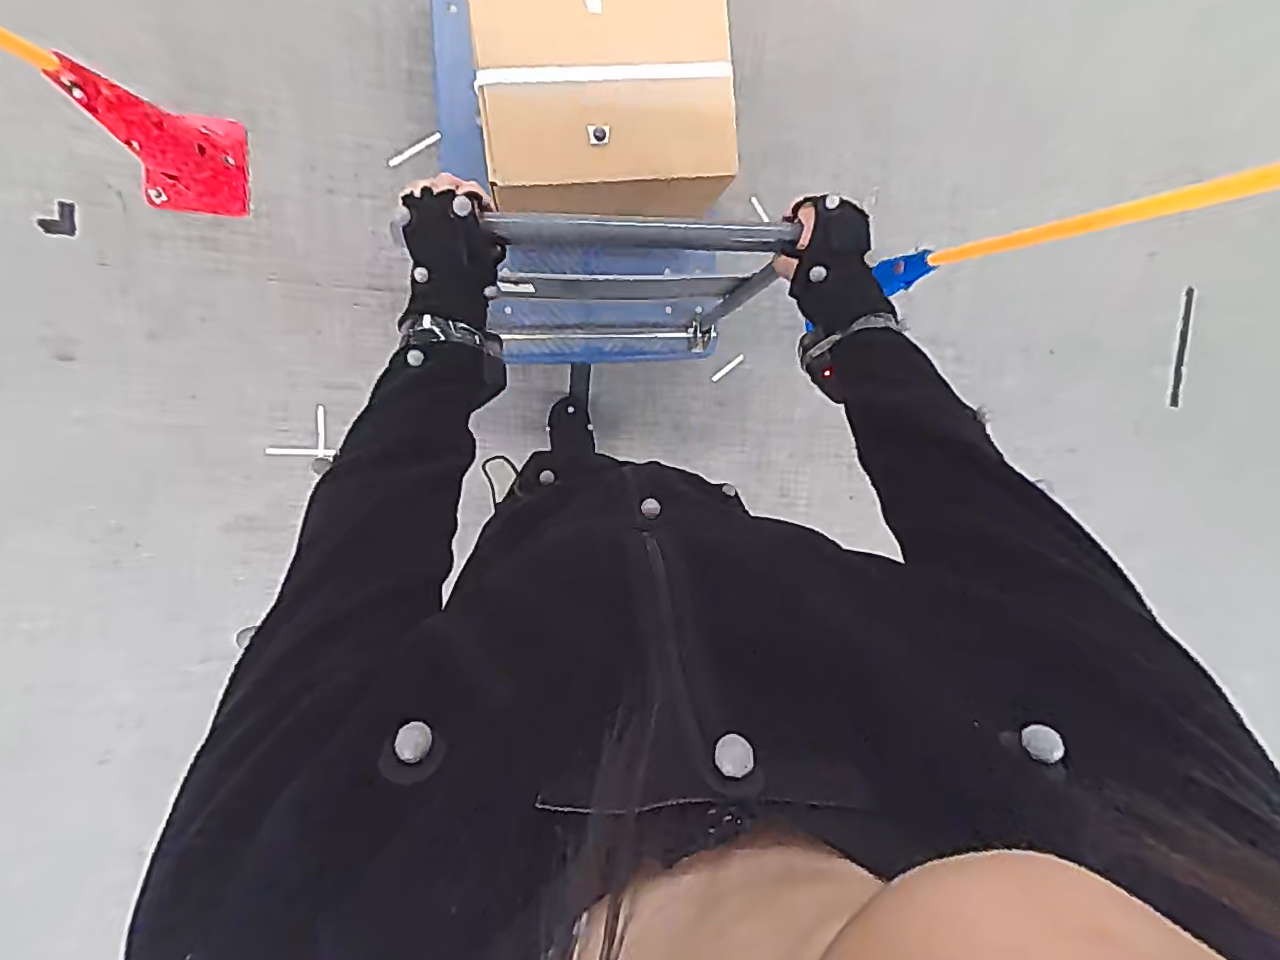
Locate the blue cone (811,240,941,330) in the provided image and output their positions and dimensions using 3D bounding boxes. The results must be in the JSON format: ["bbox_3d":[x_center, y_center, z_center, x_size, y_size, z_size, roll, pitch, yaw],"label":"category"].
[{"bbox_3d":[0.579,-0.487,1.303,0.193,0.380,0.192,-1,96,-10],"label":"blue cone"}]
